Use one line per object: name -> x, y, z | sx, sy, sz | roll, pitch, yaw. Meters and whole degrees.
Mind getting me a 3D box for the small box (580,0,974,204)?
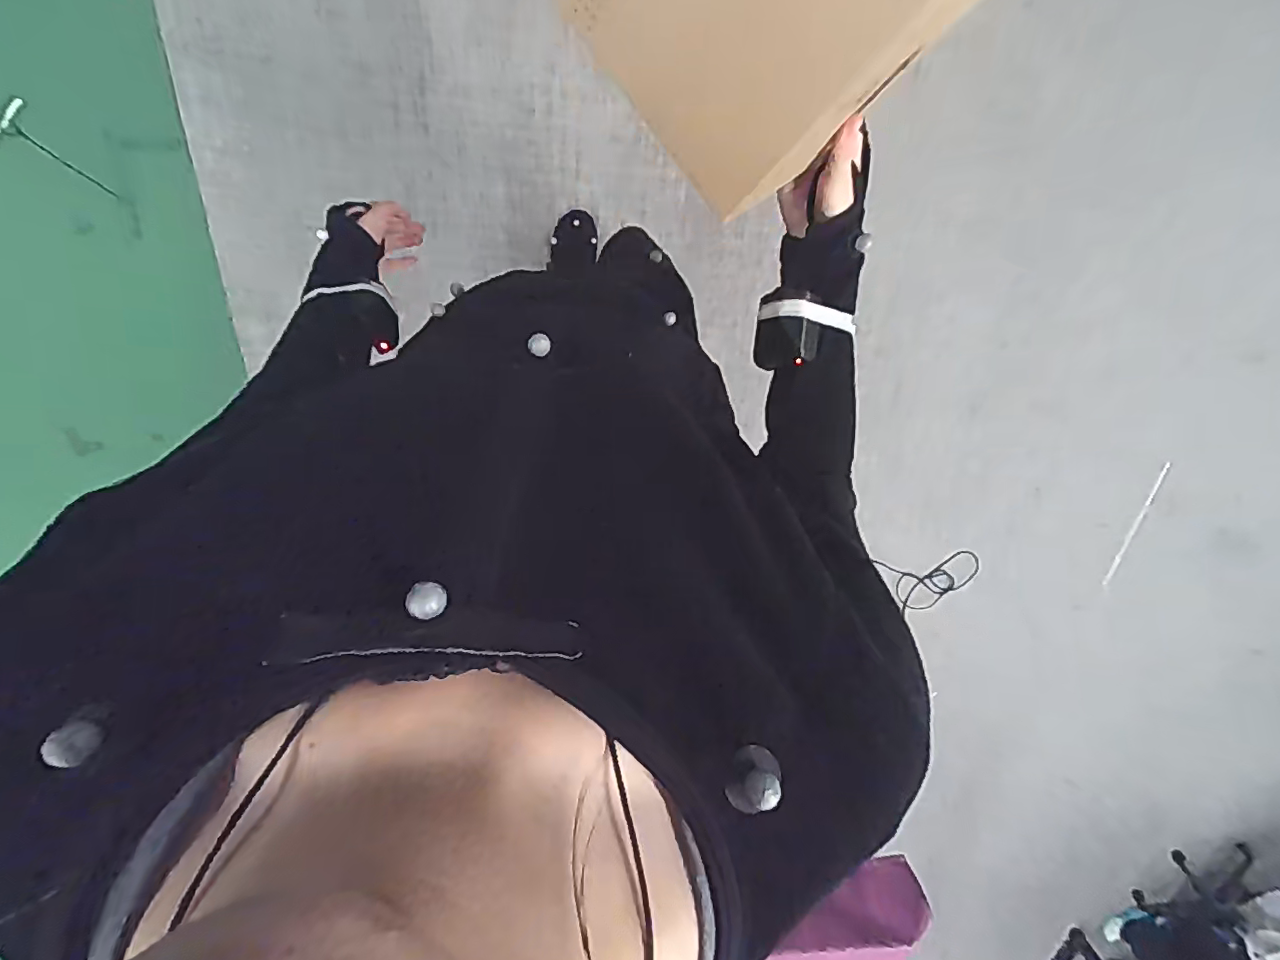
small box -> 0.094, -0.314, 0.327 | 0.176, 0.179, 0.168 | 50, 144, -6
